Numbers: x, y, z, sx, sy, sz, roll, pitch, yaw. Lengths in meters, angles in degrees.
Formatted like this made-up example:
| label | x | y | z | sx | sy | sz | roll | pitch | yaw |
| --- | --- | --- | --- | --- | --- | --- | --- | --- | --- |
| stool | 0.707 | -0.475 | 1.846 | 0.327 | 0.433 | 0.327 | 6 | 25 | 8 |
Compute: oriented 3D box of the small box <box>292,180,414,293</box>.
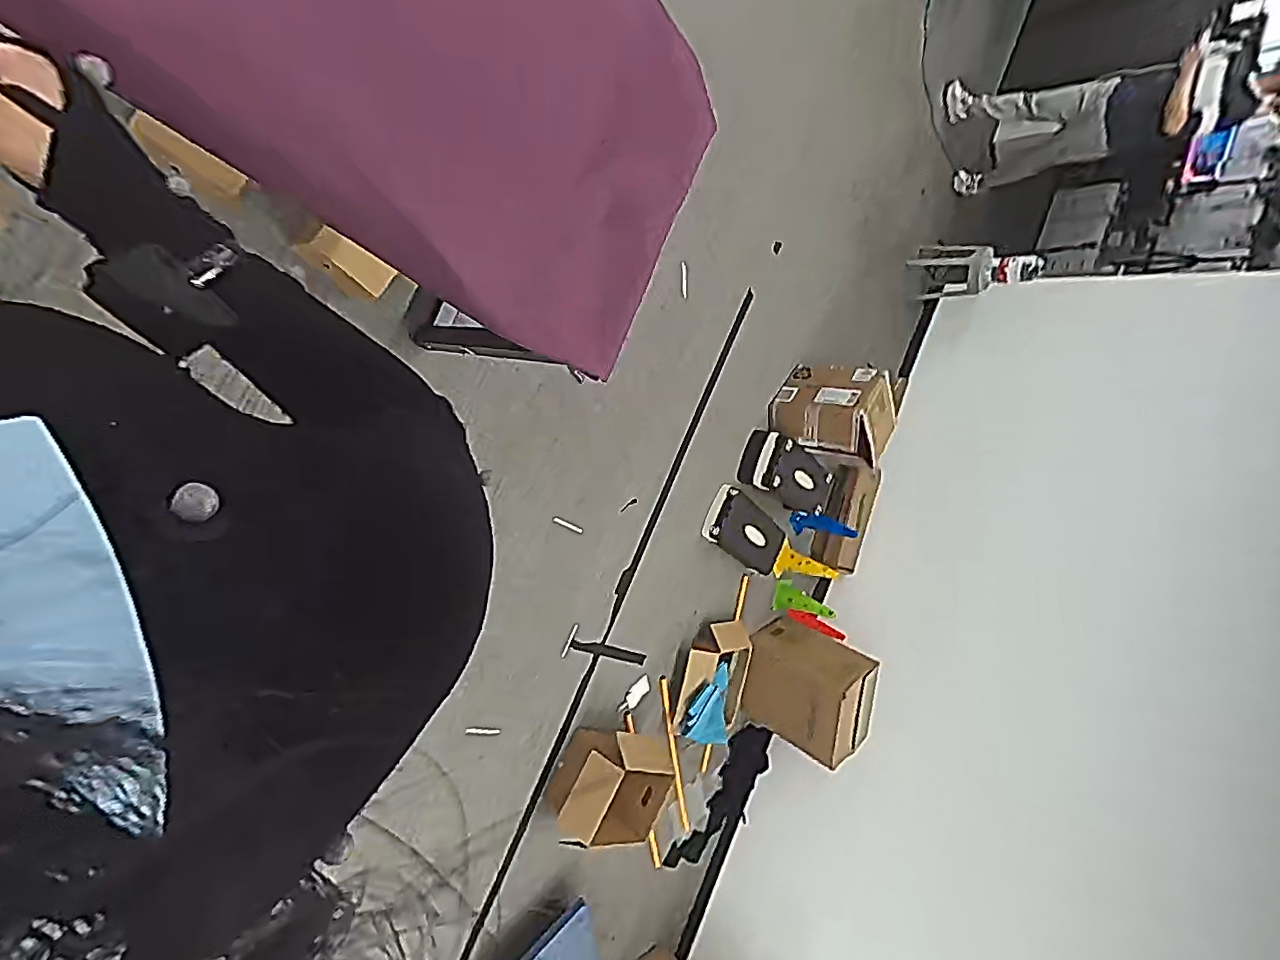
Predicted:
| label | x | y | z | sx | sy | sz | roll | pitch | yaw |
| --- | --- | --- | --- | --- | --- | --- | --- | --- | --- |
| small box | -0.674 | -0.556 | 1.261 | 0.168 | 0.176 | 0.179 | 43 | 70 | -45 |

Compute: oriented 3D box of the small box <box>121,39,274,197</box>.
| label | x | y | z | sx | sy | sz | roll | pitch | yaw |
| --- | --- | --- | --- | --- | --- | --- | --- | --- | --- |
| small box | -0.848 | -0.674 | 1.034 | 0.168 | 0.176 | 0.179 | 34 | 77 | -47 |
